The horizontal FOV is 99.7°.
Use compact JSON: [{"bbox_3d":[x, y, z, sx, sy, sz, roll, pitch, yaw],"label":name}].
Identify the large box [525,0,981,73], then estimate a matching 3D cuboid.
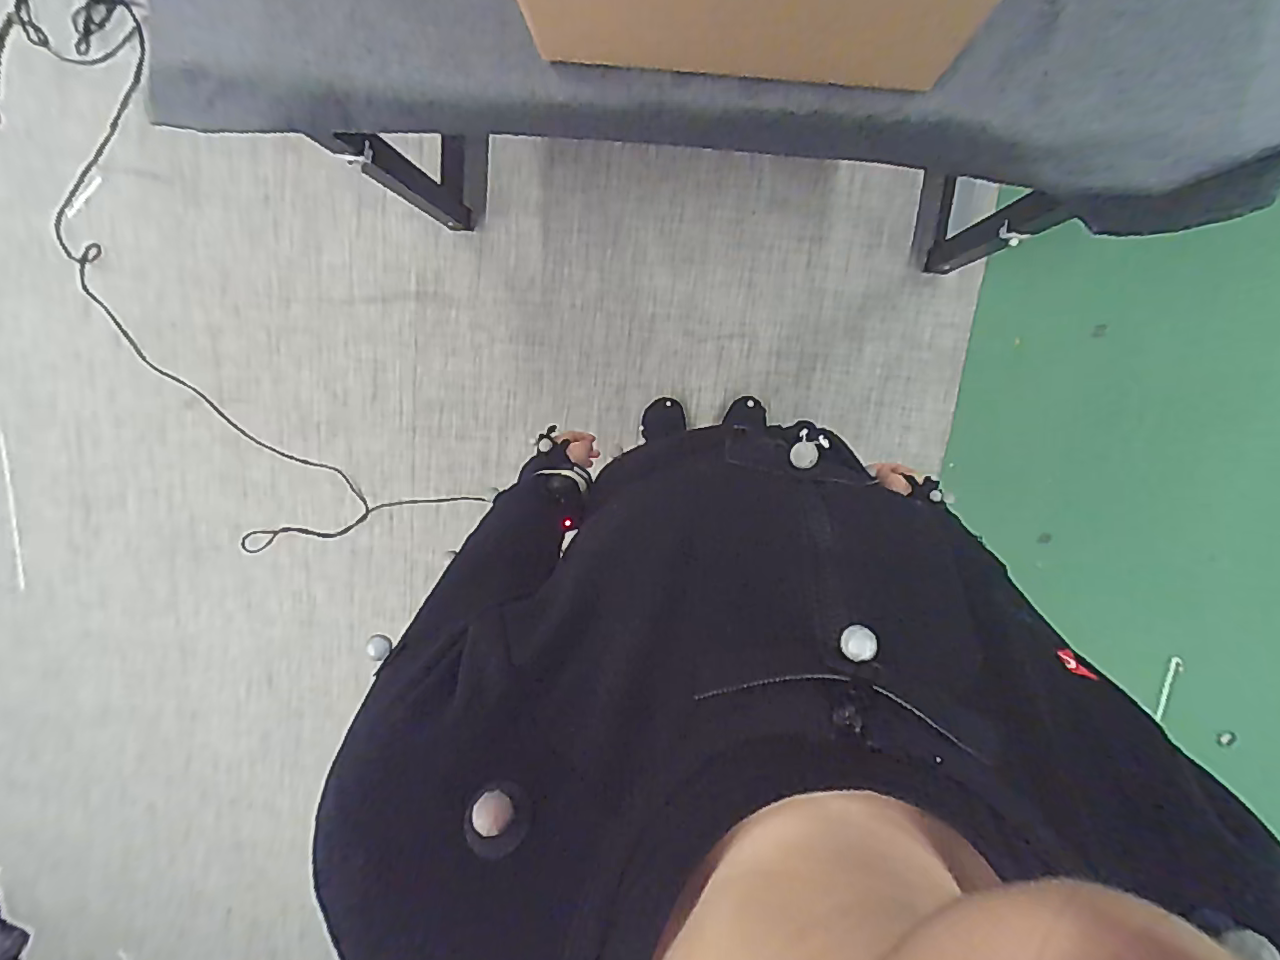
[{"bbox_3d":[0.097,-0.553,0.386,0.408,0.320,0.320,6,100,3],"label":"large box"}]
